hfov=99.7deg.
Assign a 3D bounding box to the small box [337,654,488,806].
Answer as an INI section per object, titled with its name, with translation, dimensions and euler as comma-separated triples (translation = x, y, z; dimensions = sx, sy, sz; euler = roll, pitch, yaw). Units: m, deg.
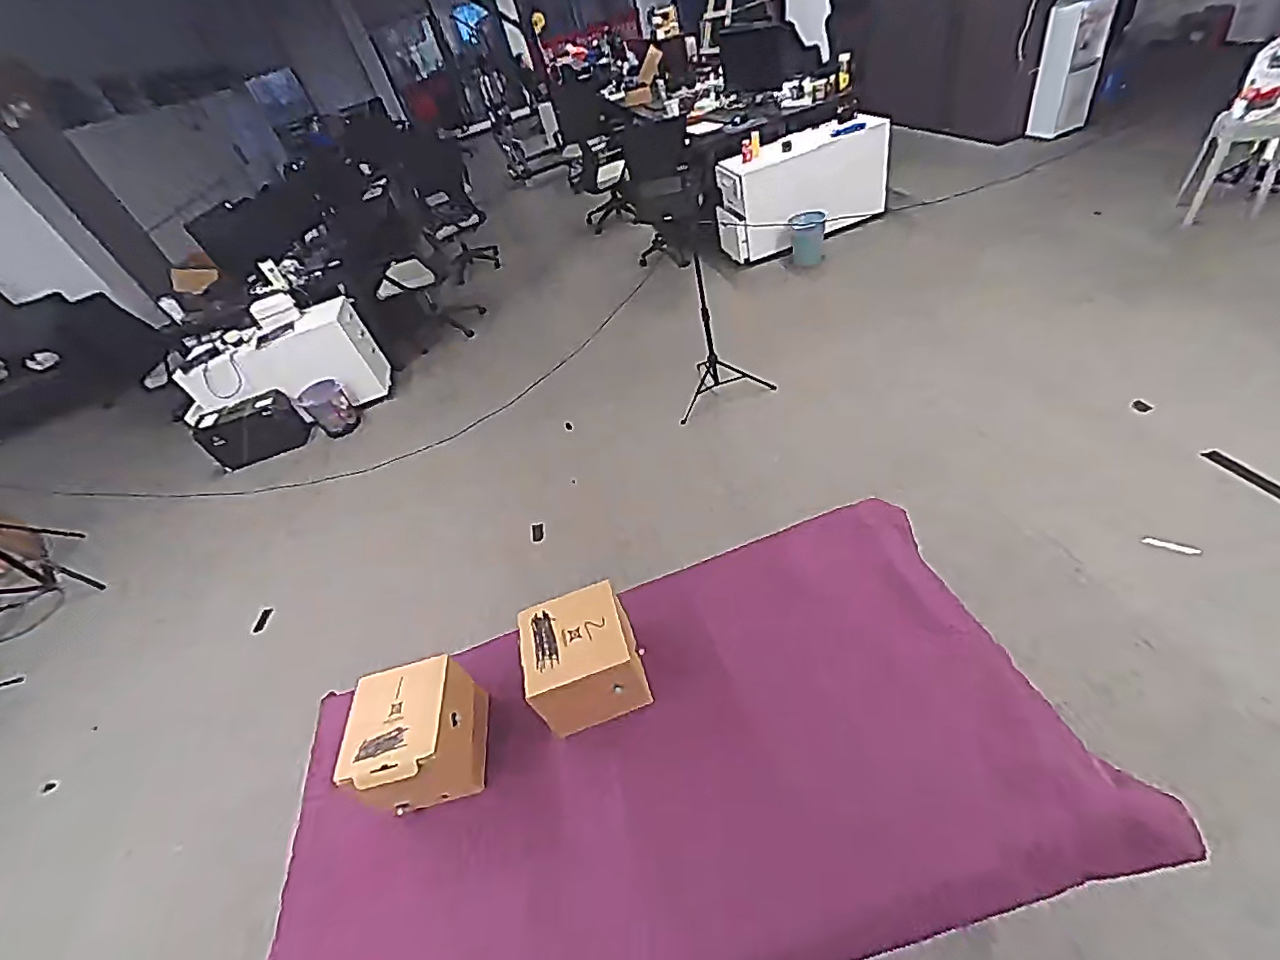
[small box]
translation = -0.372, 0.432, 0.923
dimensions = 0.168, 0.176, 0.179
euler = -16, 42, 2
